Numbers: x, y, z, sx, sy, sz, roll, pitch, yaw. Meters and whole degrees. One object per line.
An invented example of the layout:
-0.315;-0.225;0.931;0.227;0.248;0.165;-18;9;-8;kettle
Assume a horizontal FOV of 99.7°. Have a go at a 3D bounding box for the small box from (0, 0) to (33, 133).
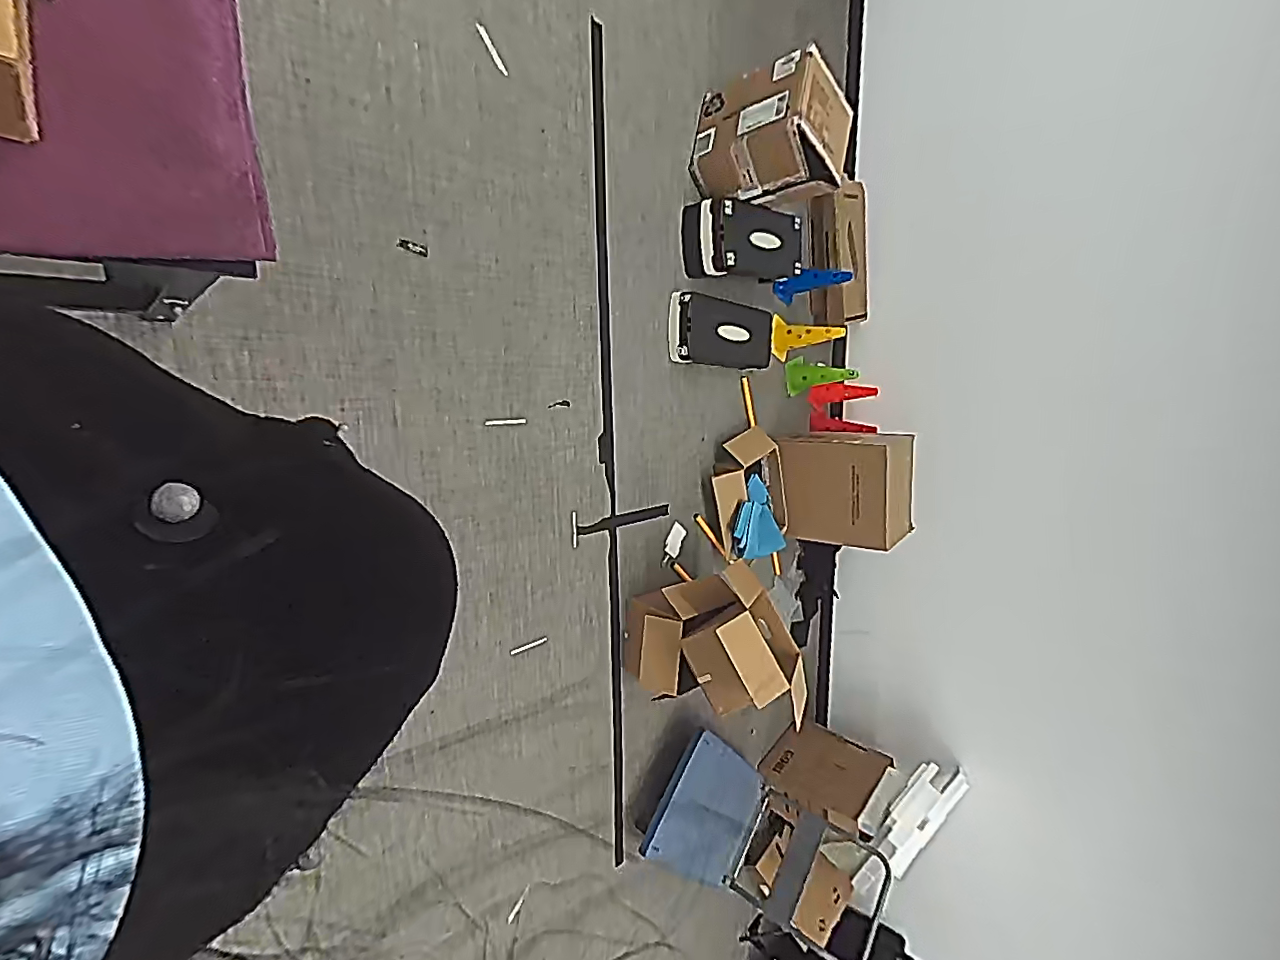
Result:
-0.570;-0.398;0.391;0.168;0.176;0.179;-5;99;-46;small box
